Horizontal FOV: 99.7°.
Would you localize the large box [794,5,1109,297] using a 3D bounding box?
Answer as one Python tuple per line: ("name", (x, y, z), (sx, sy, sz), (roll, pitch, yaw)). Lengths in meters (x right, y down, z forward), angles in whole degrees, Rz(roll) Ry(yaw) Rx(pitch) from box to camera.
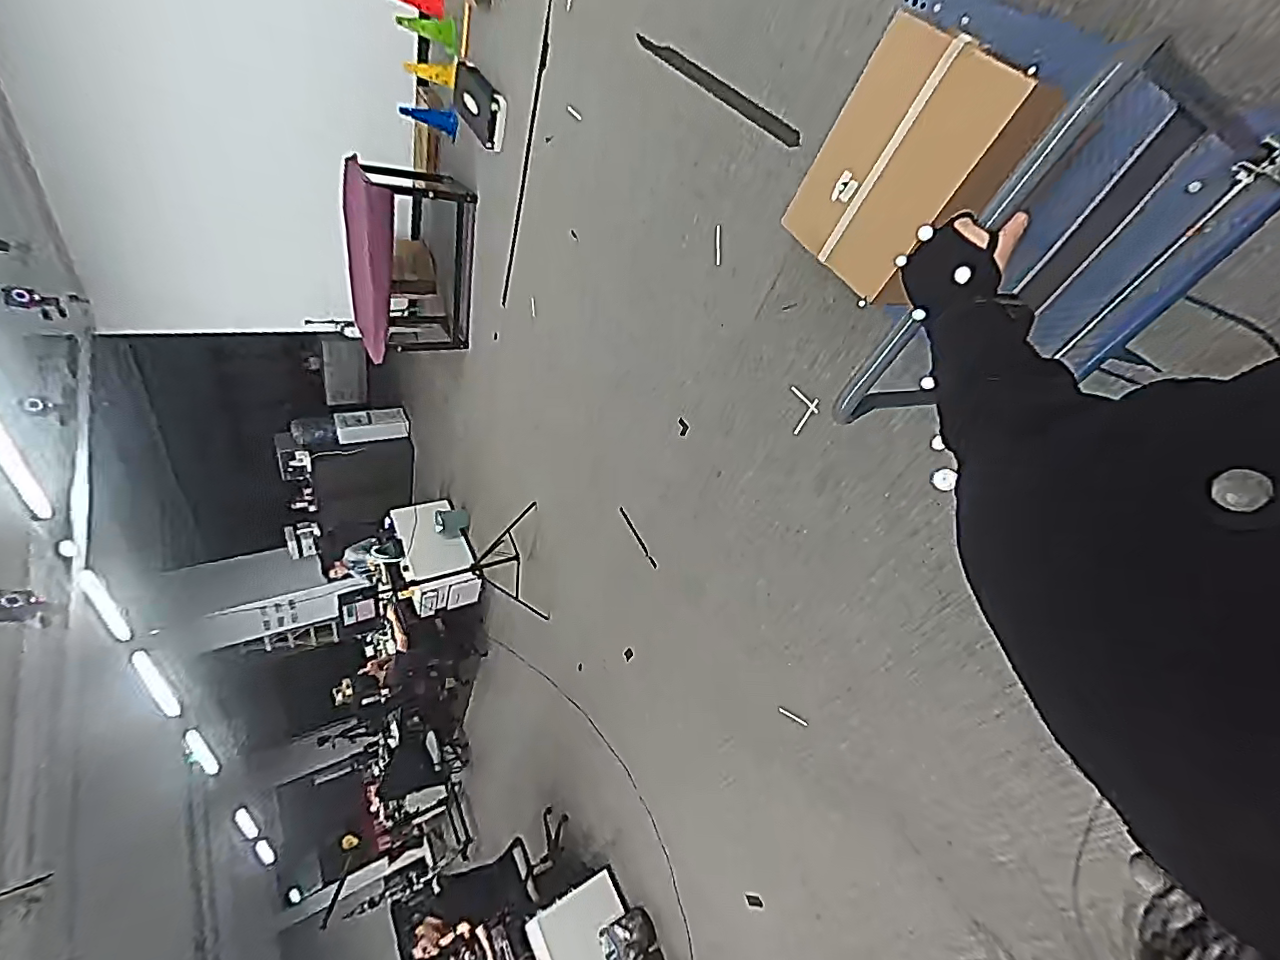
("large box", (0.607, -0.640, 1.111), (0.320, 0.320, 0.408), (59, 143, 28))
